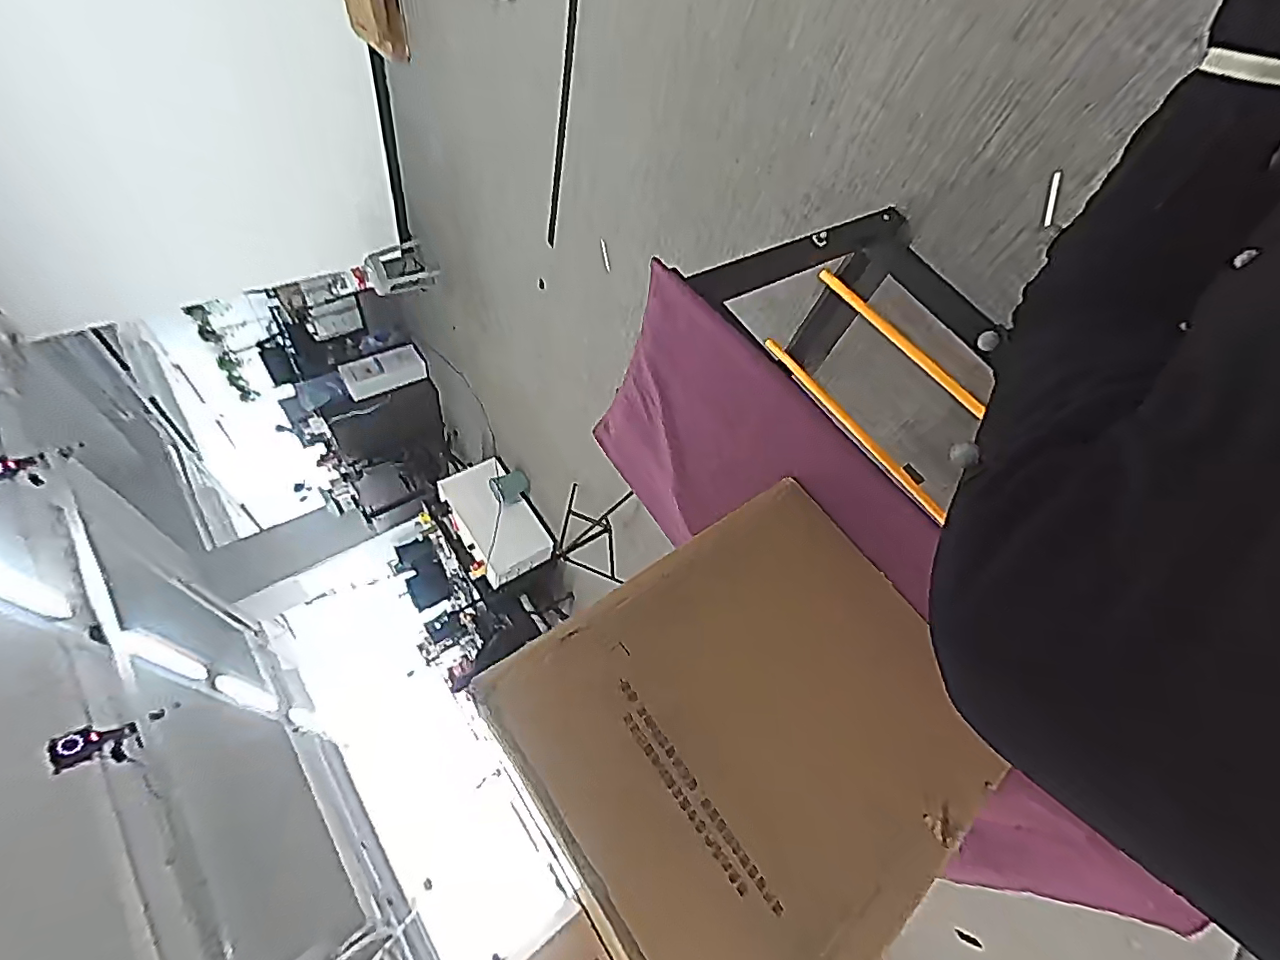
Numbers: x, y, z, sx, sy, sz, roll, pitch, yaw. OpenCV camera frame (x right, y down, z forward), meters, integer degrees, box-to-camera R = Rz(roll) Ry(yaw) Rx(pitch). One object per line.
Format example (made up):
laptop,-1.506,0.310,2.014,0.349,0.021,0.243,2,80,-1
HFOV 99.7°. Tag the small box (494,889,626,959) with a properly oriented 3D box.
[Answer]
small box,-0.101,0.703,0.737,0.168,0.176,0.179,52,151,19
